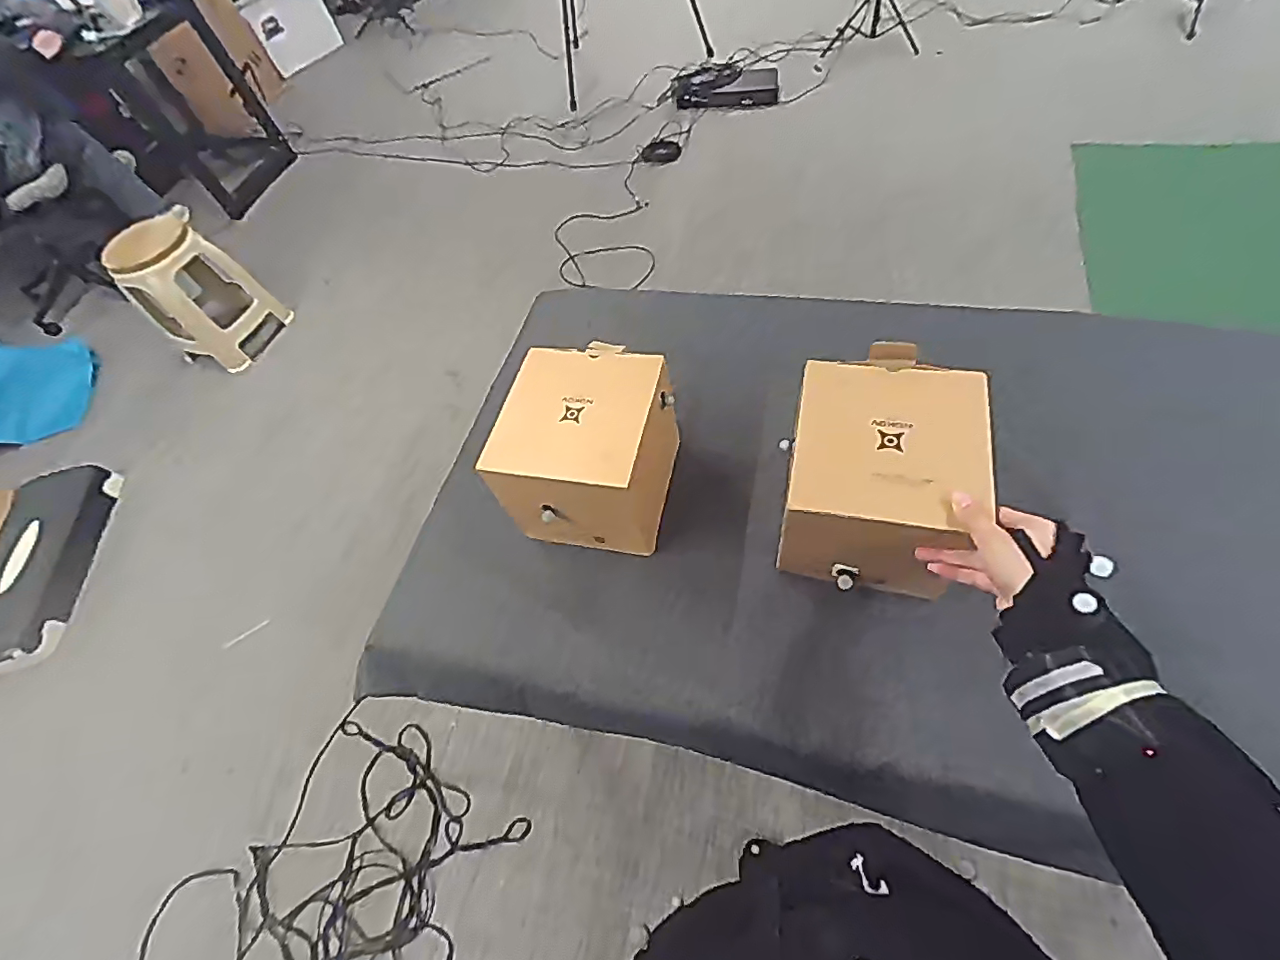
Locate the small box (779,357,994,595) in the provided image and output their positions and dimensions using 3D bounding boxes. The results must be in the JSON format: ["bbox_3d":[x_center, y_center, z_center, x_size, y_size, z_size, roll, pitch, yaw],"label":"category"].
[{"bbox_3d":[0.237,-0.001,0.558,0.168,0.176,0.179,7,62,15],"label":"small box"}]

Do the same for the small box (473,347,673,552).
[{"bbox_3d":[-0.061,-0.032,0.635,0.168,0.176,0.179,6,58,14],"label":"small box"}]
